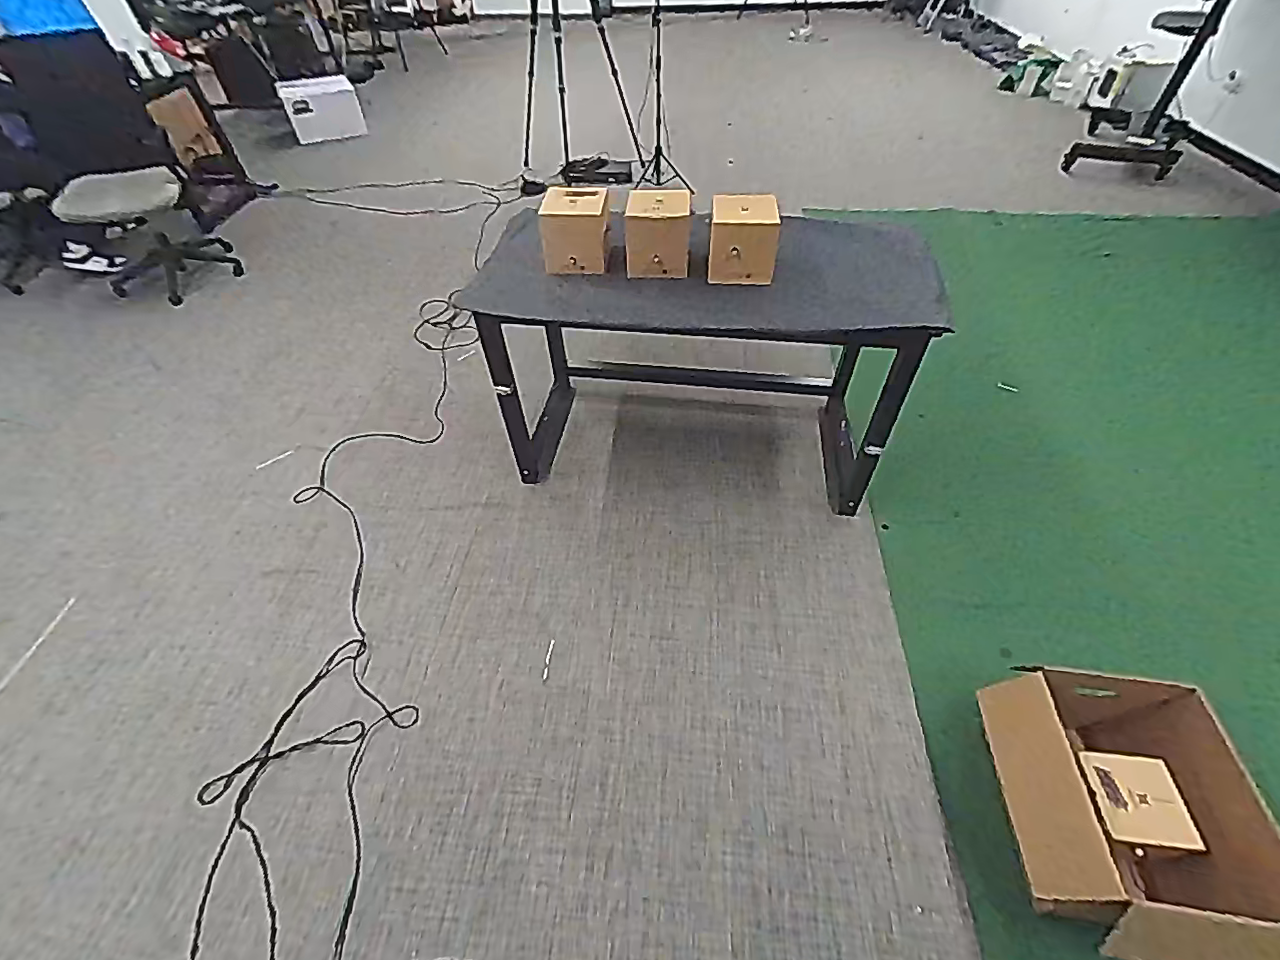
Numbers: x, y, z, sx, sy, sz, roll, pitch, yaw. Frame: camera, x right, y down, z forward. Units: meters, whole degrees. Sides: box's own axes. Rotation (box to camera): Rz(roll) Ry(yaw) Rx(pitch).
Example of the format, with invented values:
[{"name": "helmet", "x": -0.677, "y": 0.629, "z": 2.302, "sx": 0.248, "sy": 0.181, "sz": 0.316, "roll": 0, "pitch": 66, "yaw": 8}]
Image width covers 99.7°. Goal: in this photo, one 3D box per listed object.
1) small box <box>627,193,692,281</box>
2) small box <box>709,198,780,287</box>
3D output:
[{"name": "small box", "x": 0.054, "y": -0.663, "z": 1.474, "sx": 0.168, "sy": 0.176, "sz": 0.179, "roll": 2, "pitch": 48, "yaw": 4}, {"name": "small box", "x": 0.273, "y": -0.630, "z": 1.440, "sx": 0.168, "sy": 0.176, "sz": 0.179, "roll": 2, "pitch": 48, "yaw": 4}]
